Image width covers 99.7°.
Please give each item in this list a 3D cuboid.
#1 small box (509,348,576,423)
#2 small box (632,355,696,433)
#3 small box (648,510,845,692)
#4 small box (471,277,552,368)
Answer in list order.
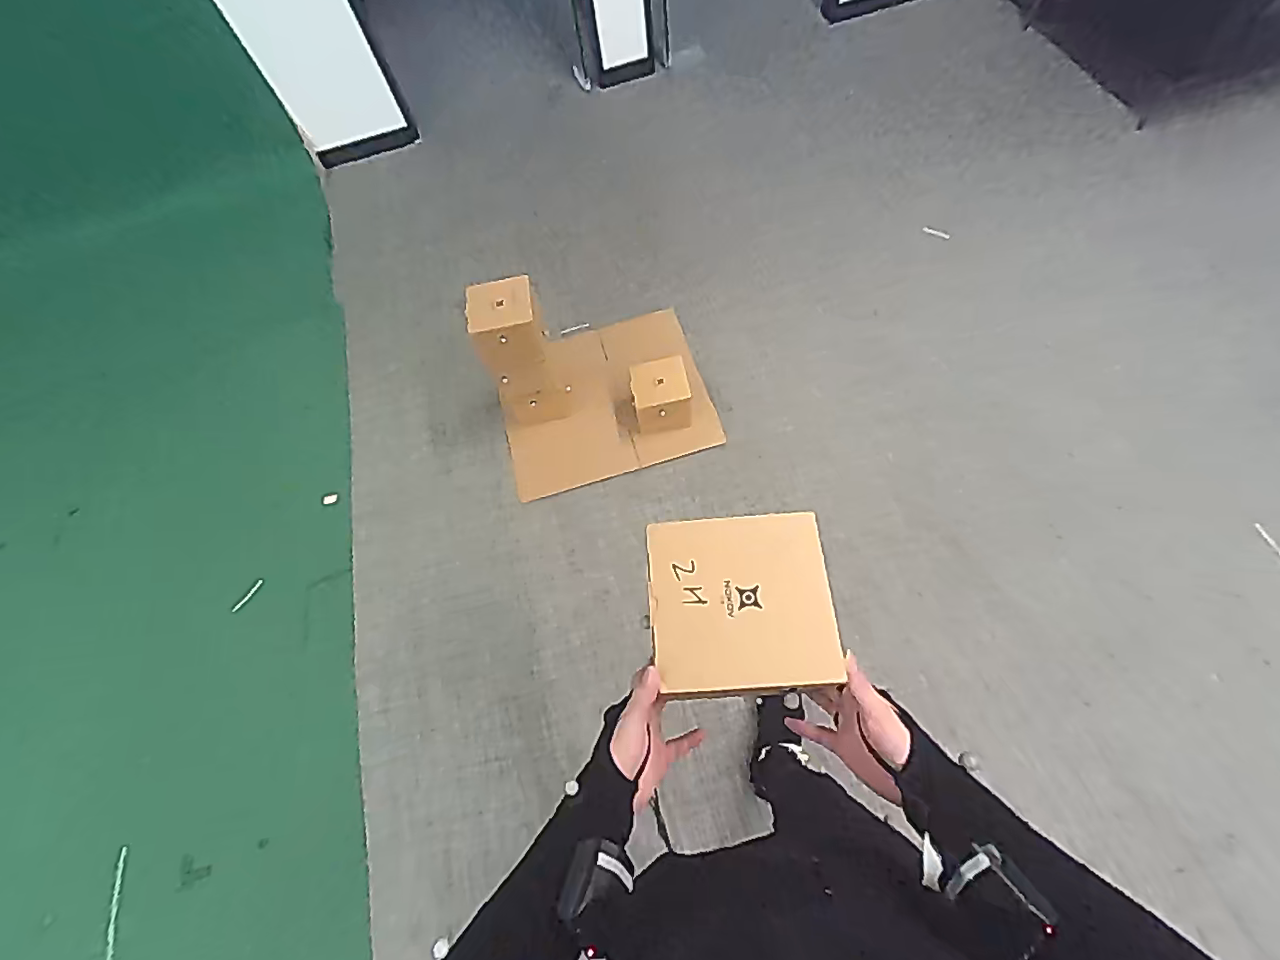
[{"bbox_3d":[-0.326,-0.310,1.817,0.179,0.176,0.168,-13,64,1],"label":"small box"},{"bbox_3d":[0.082,-0.274,1.749,0.179,0.176,0.168,-12,64,3],"label":"small box"},{"bbox_3d":[0.104,0.142,0.599,0.179,0.176,0.168,-5,66,4],"label":"small box"},{"bbox_3d":[-0.357,-0.434,1.515,0.179,0.176,0.168,-11,65,2],"label":"small box"}]
